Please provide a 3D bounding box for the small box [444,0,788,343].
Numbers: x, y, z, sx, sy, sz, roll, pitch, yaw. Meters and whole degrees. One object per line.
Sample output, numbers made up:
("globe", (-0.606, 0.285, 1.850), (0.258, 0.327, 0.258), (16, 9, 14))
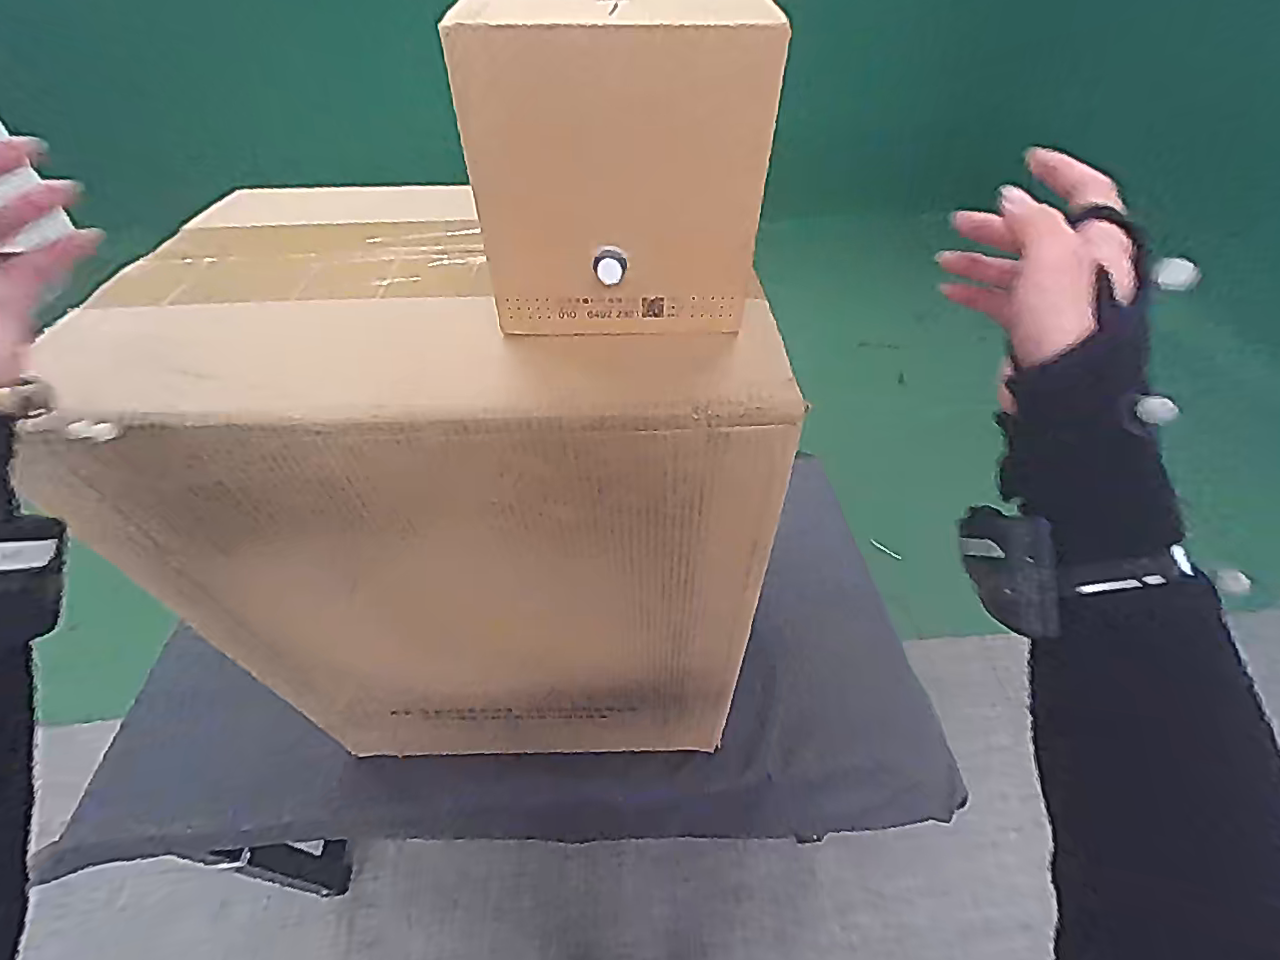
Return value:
("small box", (-0.014, -0.214, 0.368), (0.168, 0.176, 0.179), (0, 50, -2))
